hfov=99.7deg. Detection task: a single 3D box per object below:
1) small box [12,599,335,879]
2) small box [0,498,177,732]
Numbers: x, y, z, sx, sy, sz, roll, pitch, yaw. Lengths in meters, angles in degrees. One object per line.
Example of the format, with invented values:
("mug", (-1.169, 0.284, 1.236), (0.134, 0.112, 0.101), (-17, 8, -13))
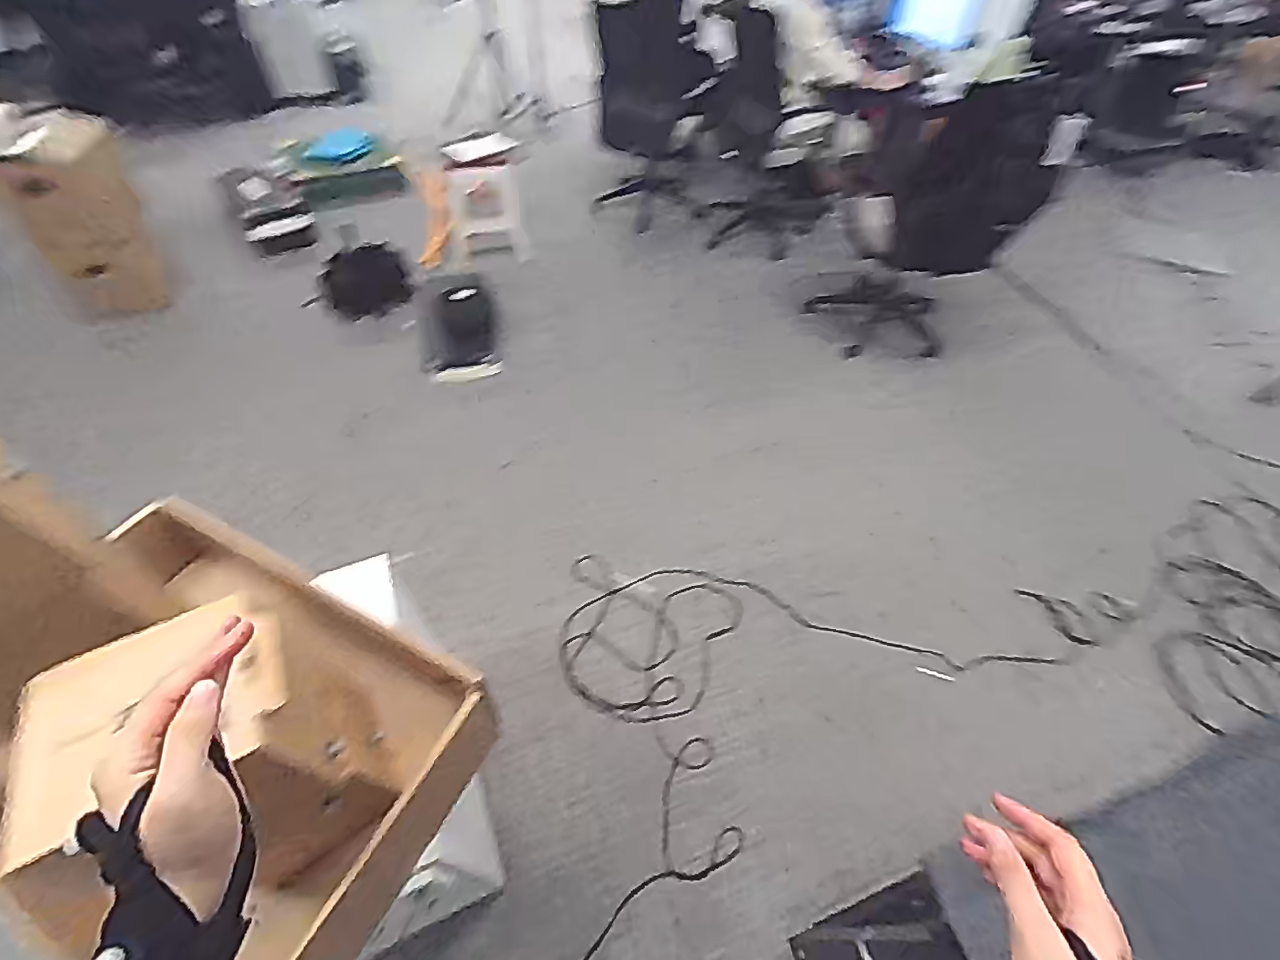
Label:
("small box", (-0.426, 0.254, 0.531), (0.179, 0.176, 0.168), (-24, 54, -17))
("small box", (-0.679, 0.151, 0.608), (0.179, 0.176, 0.168), (38, 60, 23))
